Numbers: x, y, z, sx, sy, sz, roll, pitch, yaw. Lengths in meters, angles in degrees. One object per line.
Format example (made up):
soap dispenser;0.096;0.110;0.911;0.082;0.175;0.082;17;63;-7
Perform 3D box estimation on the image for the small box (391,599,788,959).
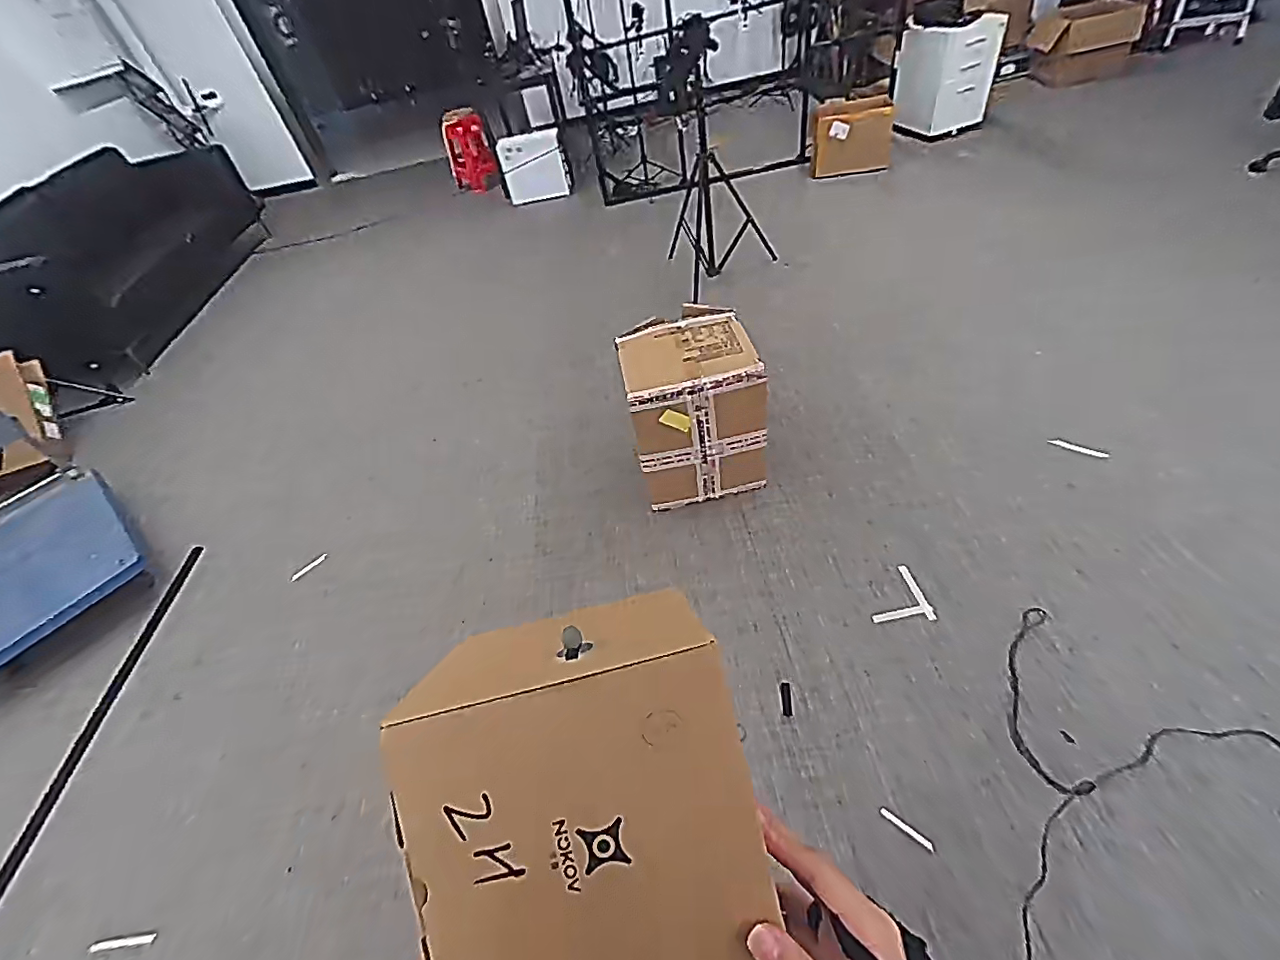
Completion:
small box;-0.029;0.186;0.353;0.179;0.176;0.168;-13;88;-3
